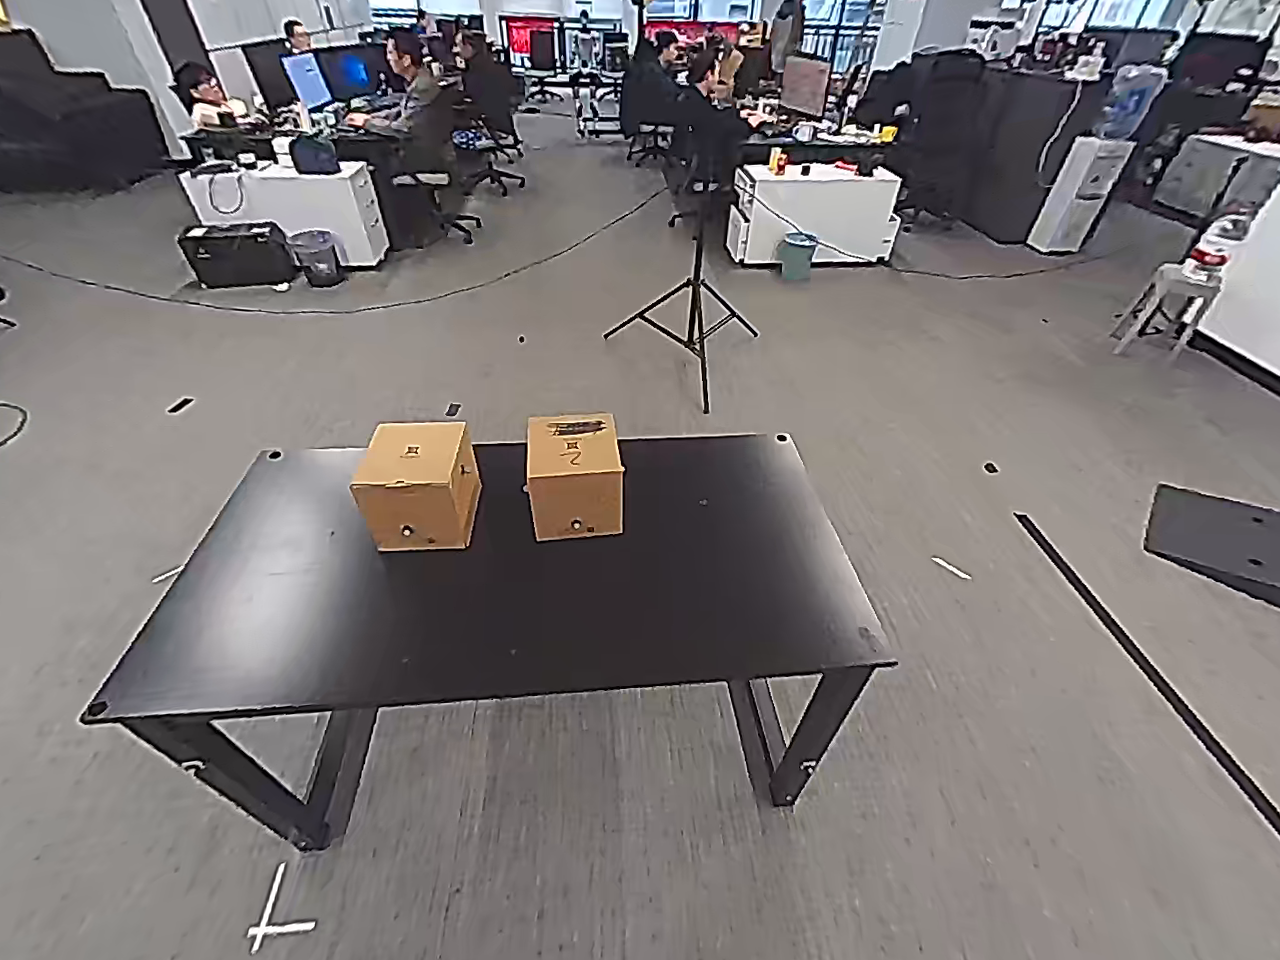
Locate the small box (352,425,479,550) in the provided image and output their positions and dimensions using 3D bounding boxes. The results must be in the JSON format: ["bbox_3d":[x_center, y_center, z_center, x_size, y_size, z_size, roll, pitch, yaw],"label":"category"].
[{"bbox_3d":[-0.410,0.013,1.023,0.168,0.176,0.179,-2,42,-4],"label":"small box"}]
